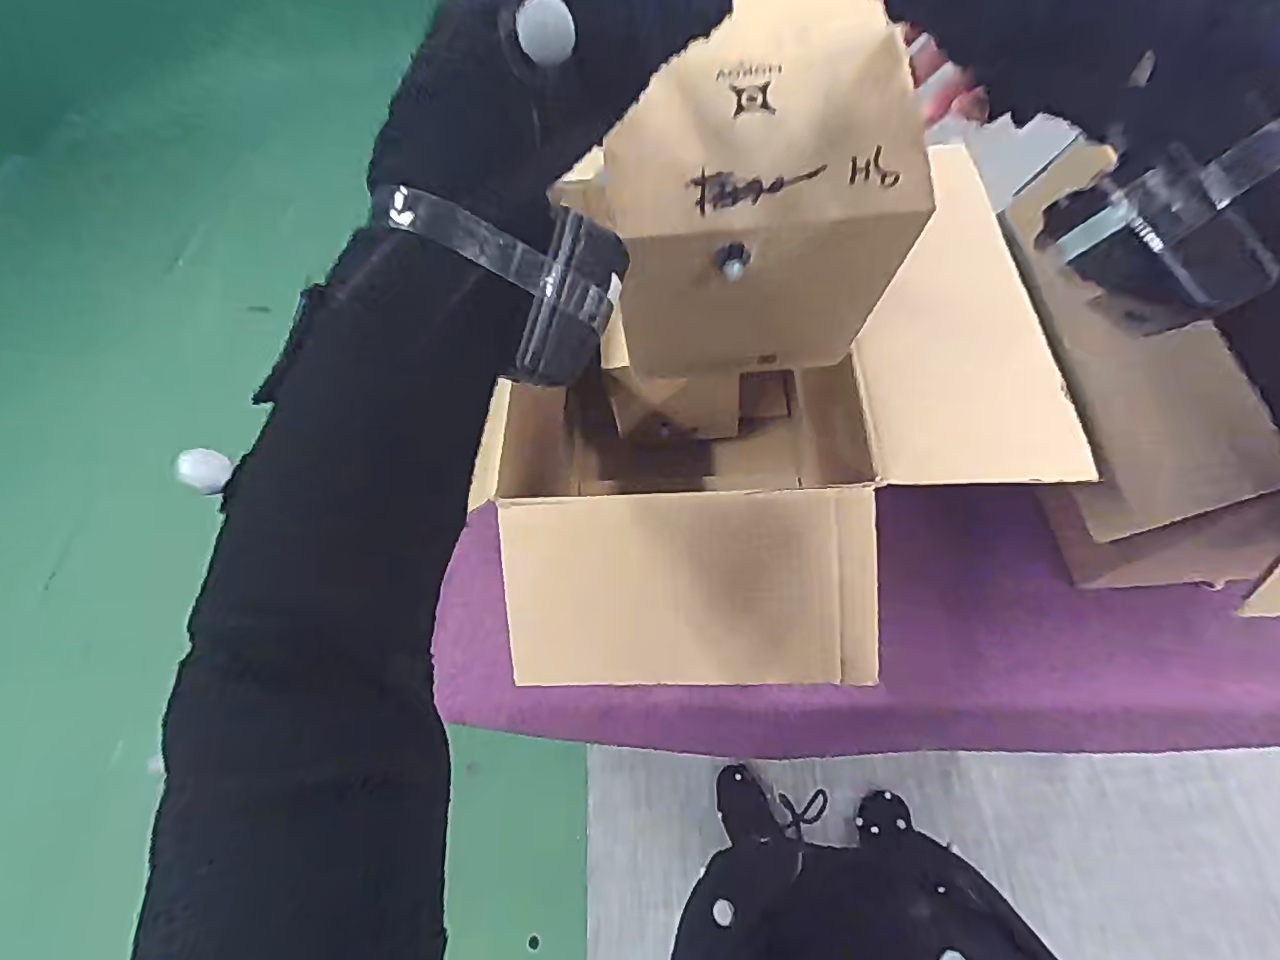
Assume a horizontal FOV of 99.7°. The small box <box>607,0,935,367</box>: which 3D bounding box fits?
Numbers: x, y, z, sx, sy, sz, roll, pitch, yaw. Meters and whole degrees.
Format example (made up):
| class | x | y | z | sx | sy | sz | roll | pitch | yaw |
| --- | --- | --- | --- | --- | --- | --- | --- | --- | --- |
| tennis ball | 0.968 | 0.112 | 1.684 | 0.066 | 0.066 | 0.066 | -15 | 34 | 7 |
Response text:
| class | x | y | z | sx | sy | sz | roll | pitch | yaw |
| --- | --- | --- | --- | --- | --- | --- | --- | --- | --- |
| small box | 0.068 | -0.197 | 0.371 | 0.168 | 0.176 | 0.179 | -4 | 75 | 4 |
